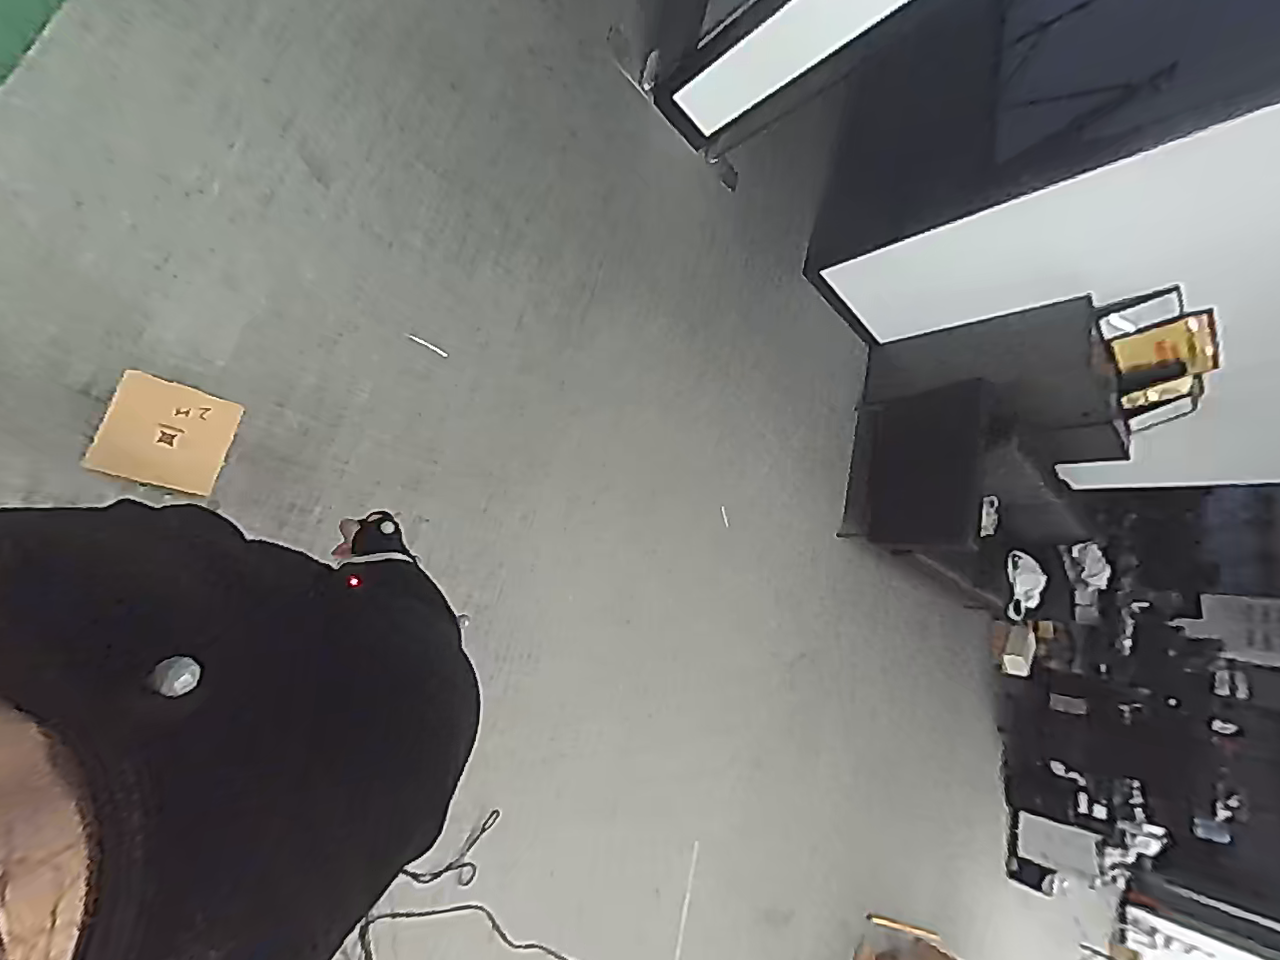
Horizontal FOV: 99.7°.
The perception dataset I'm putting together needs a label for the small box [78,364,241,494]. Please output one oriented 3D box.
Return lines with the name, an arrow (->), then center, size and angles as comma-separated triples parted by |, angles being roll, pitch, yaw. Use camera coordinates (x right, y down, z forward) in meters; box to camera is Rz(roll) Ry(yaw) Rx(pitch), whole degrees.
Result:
small box -> -0.853, -0.080, 0.970 | 0.168, 0.176, 0.179 | 24, 71, -40
